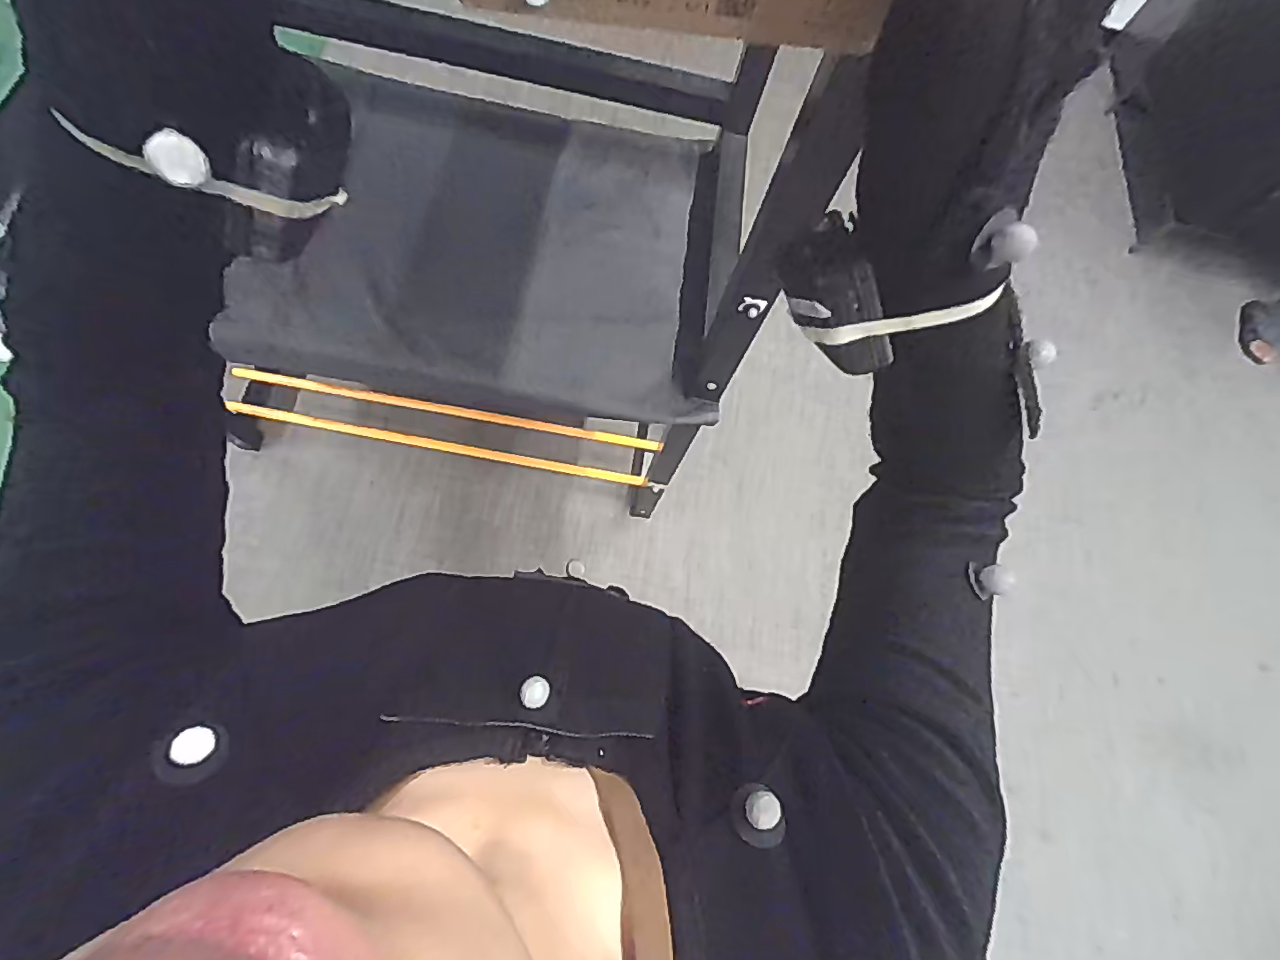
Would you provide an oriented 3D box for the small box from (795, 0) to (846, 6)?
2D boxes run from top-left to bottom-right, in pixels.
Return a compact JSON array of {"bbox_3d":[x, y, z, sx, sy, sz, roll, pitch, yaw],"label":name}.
[{"bbox_3d":[0.024,-0.264,0.122,0.168,0.176,0.179,2,95,-6],"label":"small box"}]
